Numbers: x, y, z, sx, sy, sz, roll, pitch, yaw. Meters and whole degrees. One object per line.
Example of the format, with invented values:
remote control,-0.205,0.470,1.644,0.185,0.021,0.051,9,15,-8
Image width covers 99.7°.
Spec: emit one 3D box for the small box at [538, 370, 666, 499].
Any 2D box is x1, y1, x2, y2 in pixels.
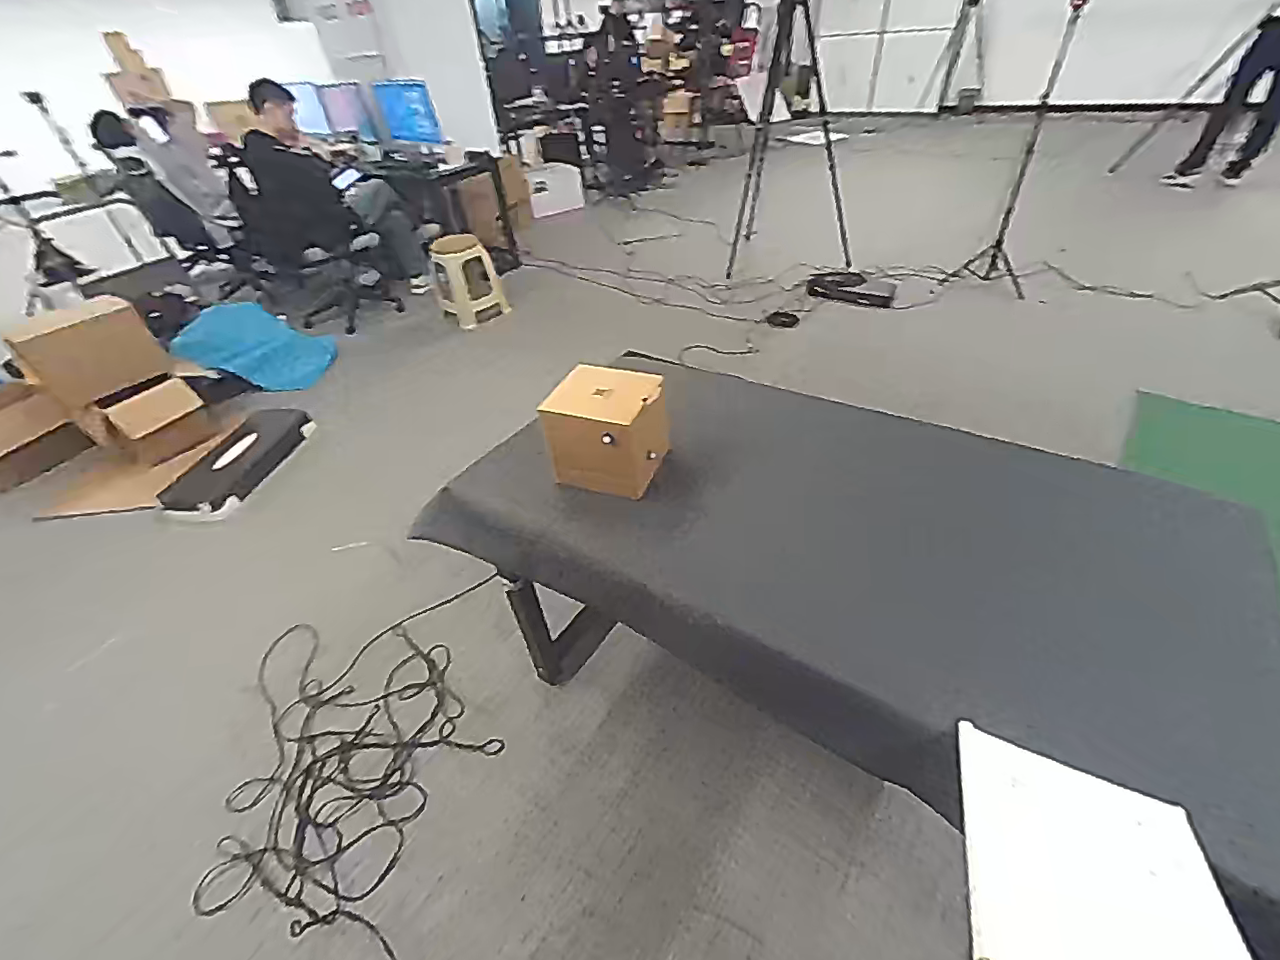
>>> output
small box,-0.061,-0.084,1.001,0.179,0.176,0.168,11,42,19
